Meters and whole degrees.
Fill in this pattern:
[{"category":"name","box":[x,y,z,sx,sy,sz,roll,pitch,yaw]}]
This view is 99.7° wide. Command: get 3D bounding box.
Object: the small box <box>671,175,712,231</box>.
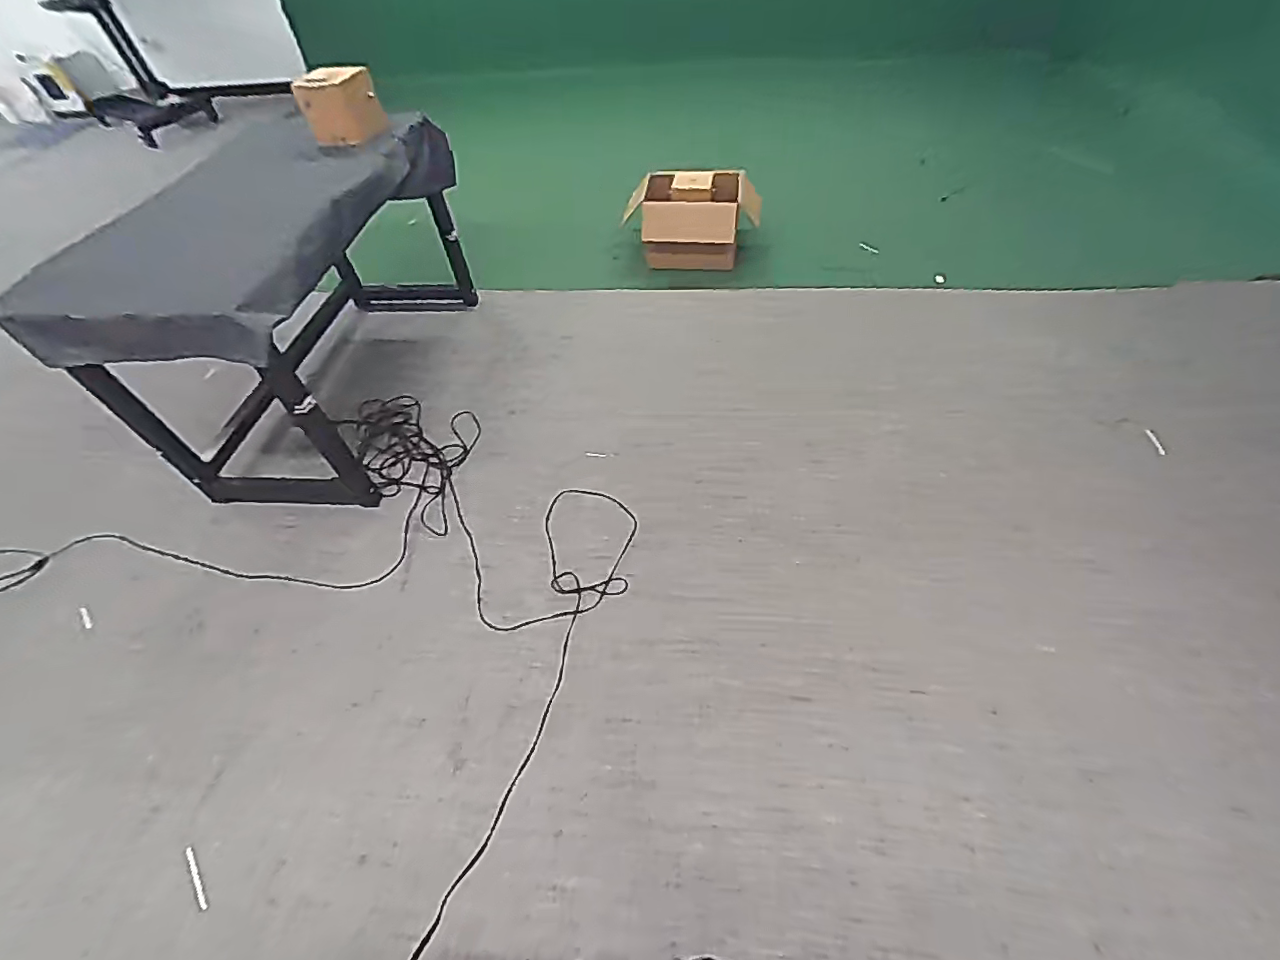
[{"category":"small box","box":[0.226,-1.220,2.378,0.168,0.176,0.179,5,51,8]}]
